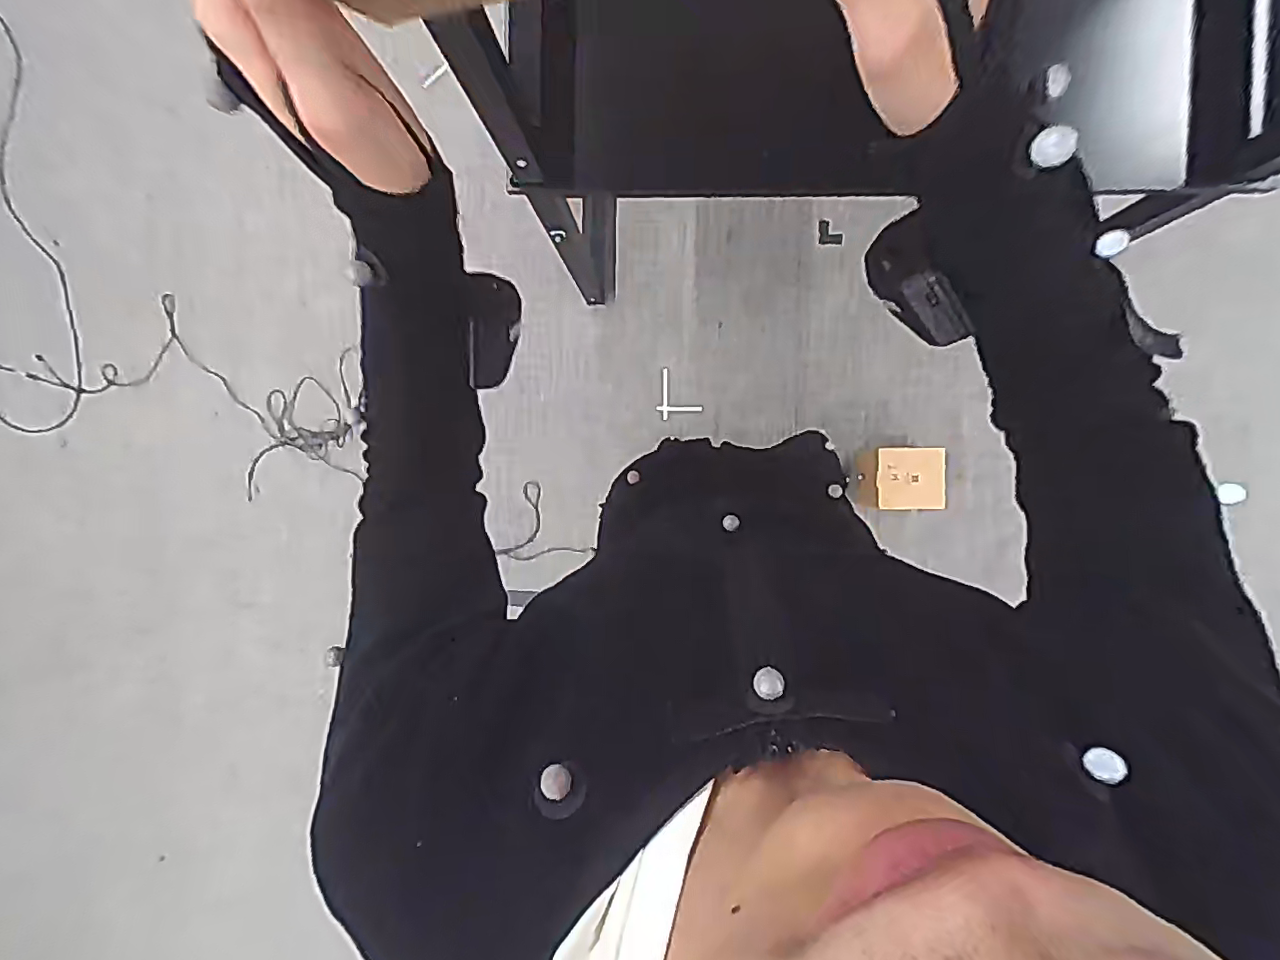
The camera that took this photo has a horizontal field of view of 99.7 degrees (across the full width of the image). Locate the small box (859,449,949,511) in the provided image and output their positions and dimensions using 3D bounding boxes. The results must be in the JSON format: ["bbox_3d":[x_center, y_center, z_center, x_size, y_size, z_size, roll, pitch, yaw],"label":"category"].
[{"bbox_3d":[0.729,-0.003,1.504,0.179,0.176,0.168,0,92,5],"label":"small box"}]
